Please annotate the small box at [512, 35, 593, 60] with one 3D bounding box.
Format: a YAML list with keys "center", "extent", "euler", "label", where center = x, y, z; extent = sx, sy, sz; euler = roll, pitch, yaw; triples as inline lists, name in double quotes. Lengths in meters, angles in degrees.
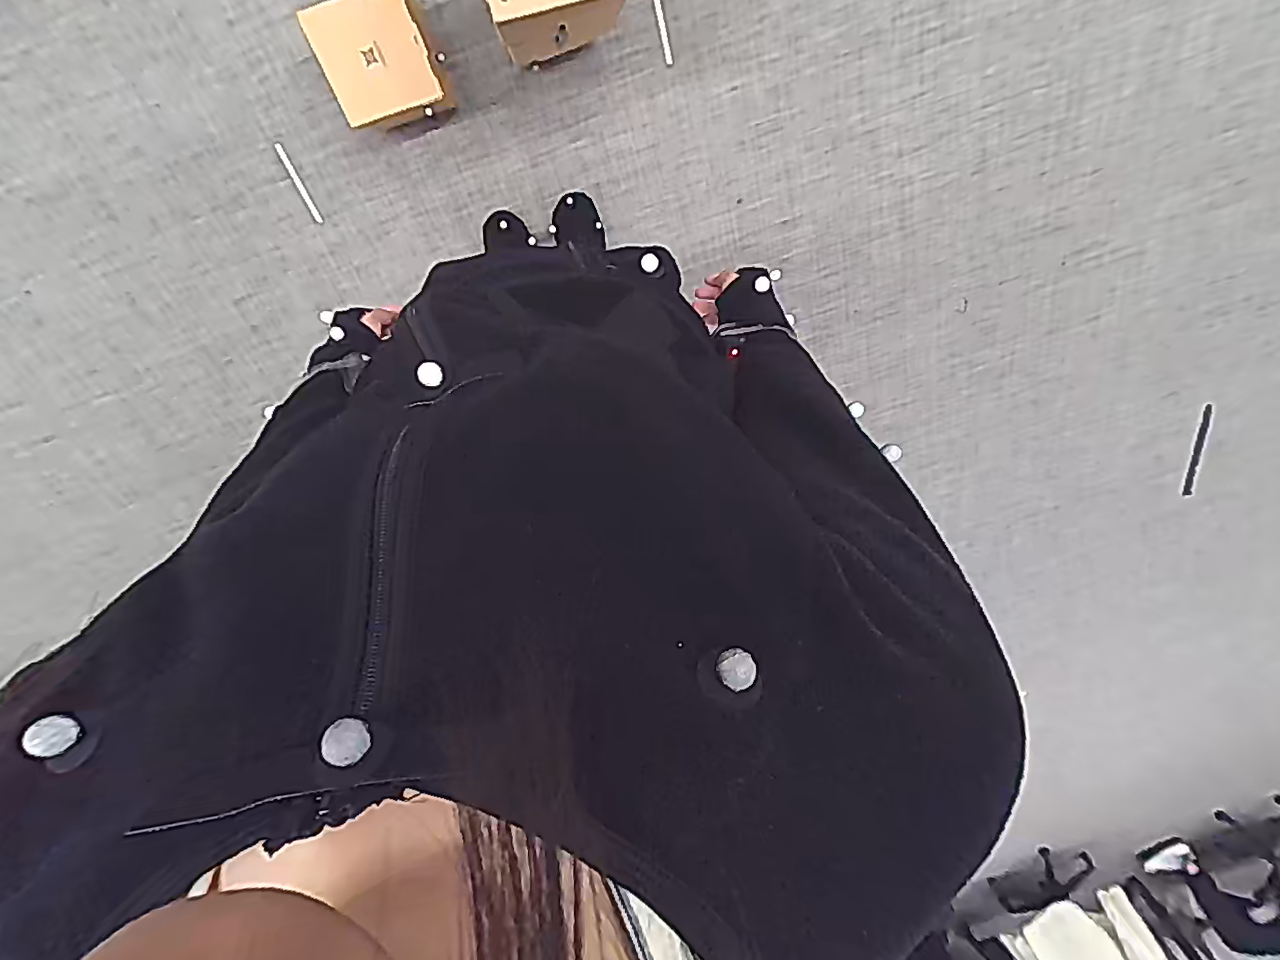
- center: [-0.175, -0.863, 0.942]
  extent: [0.168, 0.176, 0.179]
  euler: [-19, 121, 2]
  label: "small box"

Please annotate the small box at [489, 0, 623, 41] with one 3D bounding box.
- center: [-0.119, -0.679, 0.675]
  extent: [0.179, 0.176, 0.168]
  euler: [-15, 122, -2]
  label: "small box"

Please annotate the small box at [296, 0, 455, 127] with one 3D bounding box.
- center: [-0.456, -0.751, 0.966]
  extent: [0.179, 0.176, 0.168]
  euler: [-18, 122, 2]
  label: "small box"

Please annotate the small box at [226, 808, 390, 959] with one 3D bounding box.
- center: [-0.583, 0.733, 0.984]
  extent: [0.179, 0.176, 0.168]
  euler: [-19, 121, 3]
  label: "small box"

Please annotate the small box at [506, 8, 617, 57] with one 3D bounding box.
- center: [-0.142, -0.767, 0.812]
  extent: [0.179, 0.176, 0.168]
  euler: [-17, 123, 1]
  label: "small box"
